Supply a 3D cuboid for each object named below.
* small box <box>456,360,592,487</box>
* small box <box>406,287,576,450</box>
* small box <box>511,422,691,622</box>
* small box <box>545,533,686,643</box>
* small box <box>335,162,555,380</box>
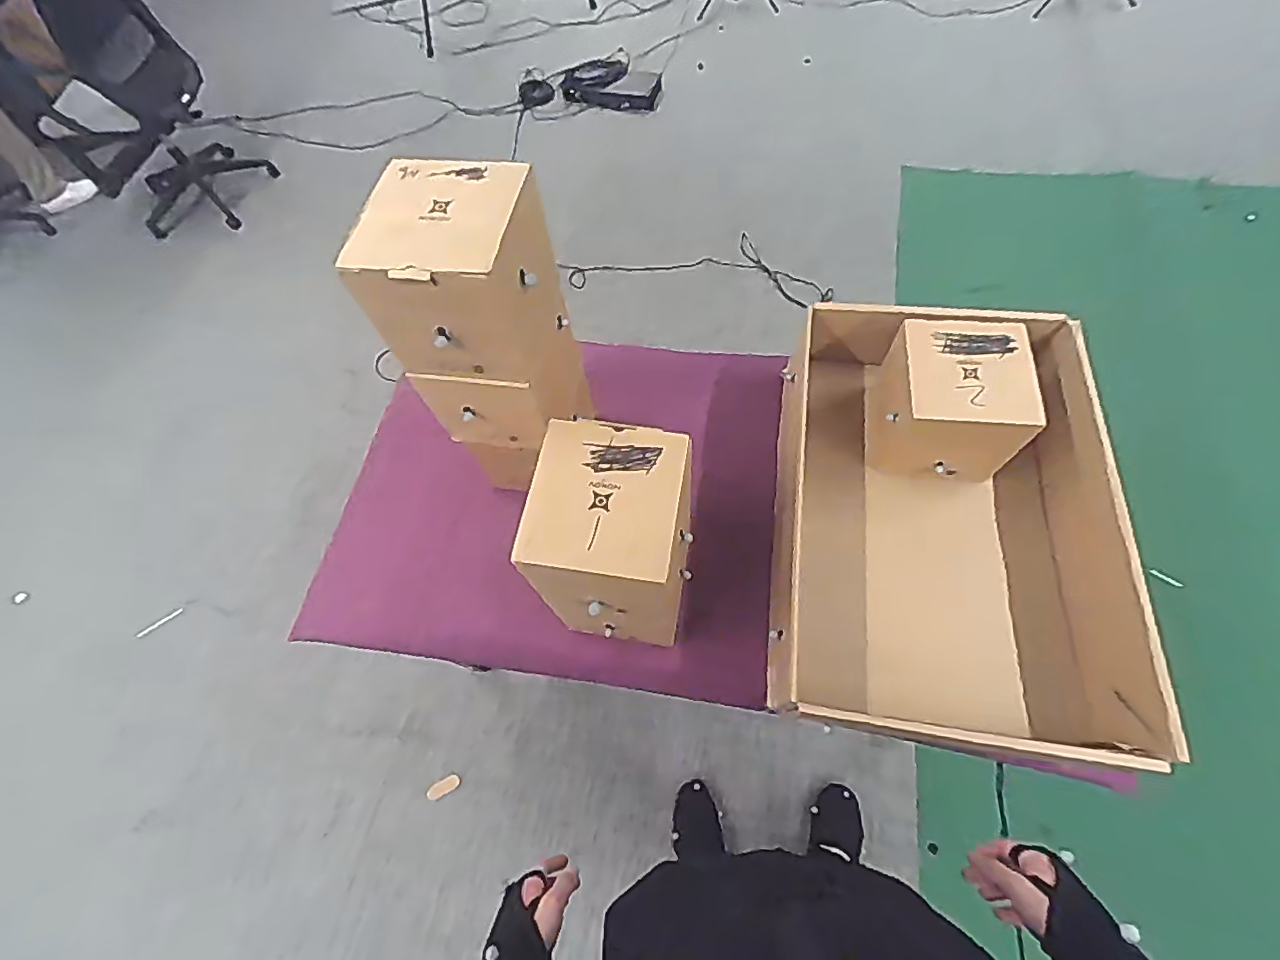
[{"bbox_3d":[-0.185,-0.091,0.925,0.168,0.176,0.179,7,64,7],"label":"small box"},{"bbox_3d":[-0.198,-0.160,0.779,0.168,0.176,0.179,6,64,7],"label":"small box"},{"bbox_3d":[-0.034,0.055,0.651,0.168,0.176,0.179,7,64,9],"label":"small box"},{"bbox_3d":[-0.024,0.130,0.796,0.168,0.176,0.179,8,64,8],"label":"small box"},{"bbox_3d":[-0.208,-0.238,0.635,0.168,0.176,0.179,6,64,7],"label":"small box"}]
